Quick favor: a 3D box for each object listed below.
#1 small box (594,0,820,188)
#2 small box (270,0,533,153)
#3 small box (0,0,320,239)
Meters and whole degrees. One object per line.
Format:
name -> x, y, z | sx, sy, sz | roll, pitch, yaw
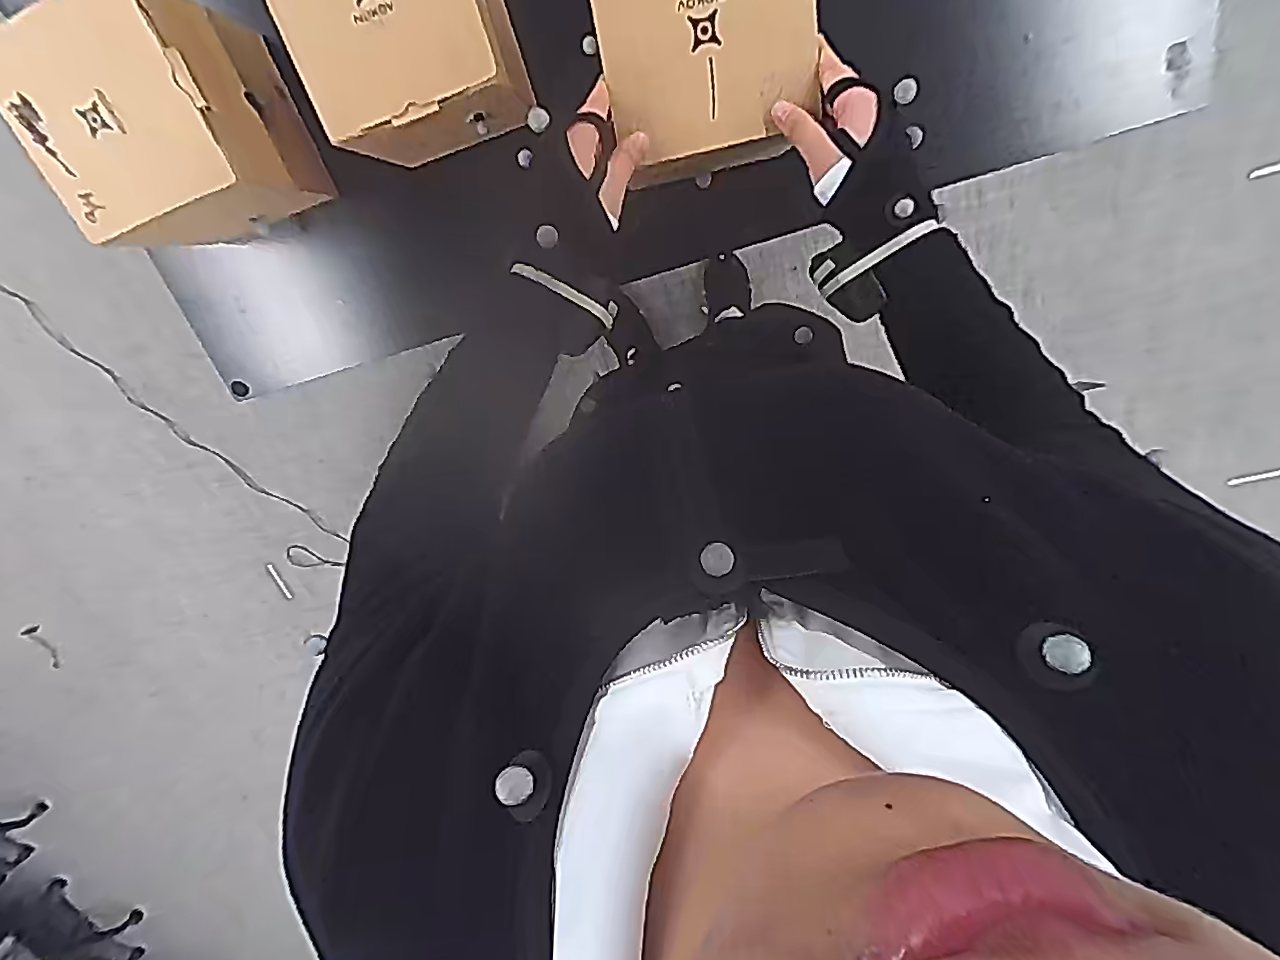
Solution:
small box -> 0.051, -0.380, 0.482 | 0.168, 0.176, 0.179 | -10, 113, 6
small box -> -0.215, -0.429, 0.505 | 0.168, 0.176, 0.179 | -15, 112, 7
small box -> -0.464, -0.356, 0.545 | 0.179, 0.176, 0.168 | -17, 112, 8
